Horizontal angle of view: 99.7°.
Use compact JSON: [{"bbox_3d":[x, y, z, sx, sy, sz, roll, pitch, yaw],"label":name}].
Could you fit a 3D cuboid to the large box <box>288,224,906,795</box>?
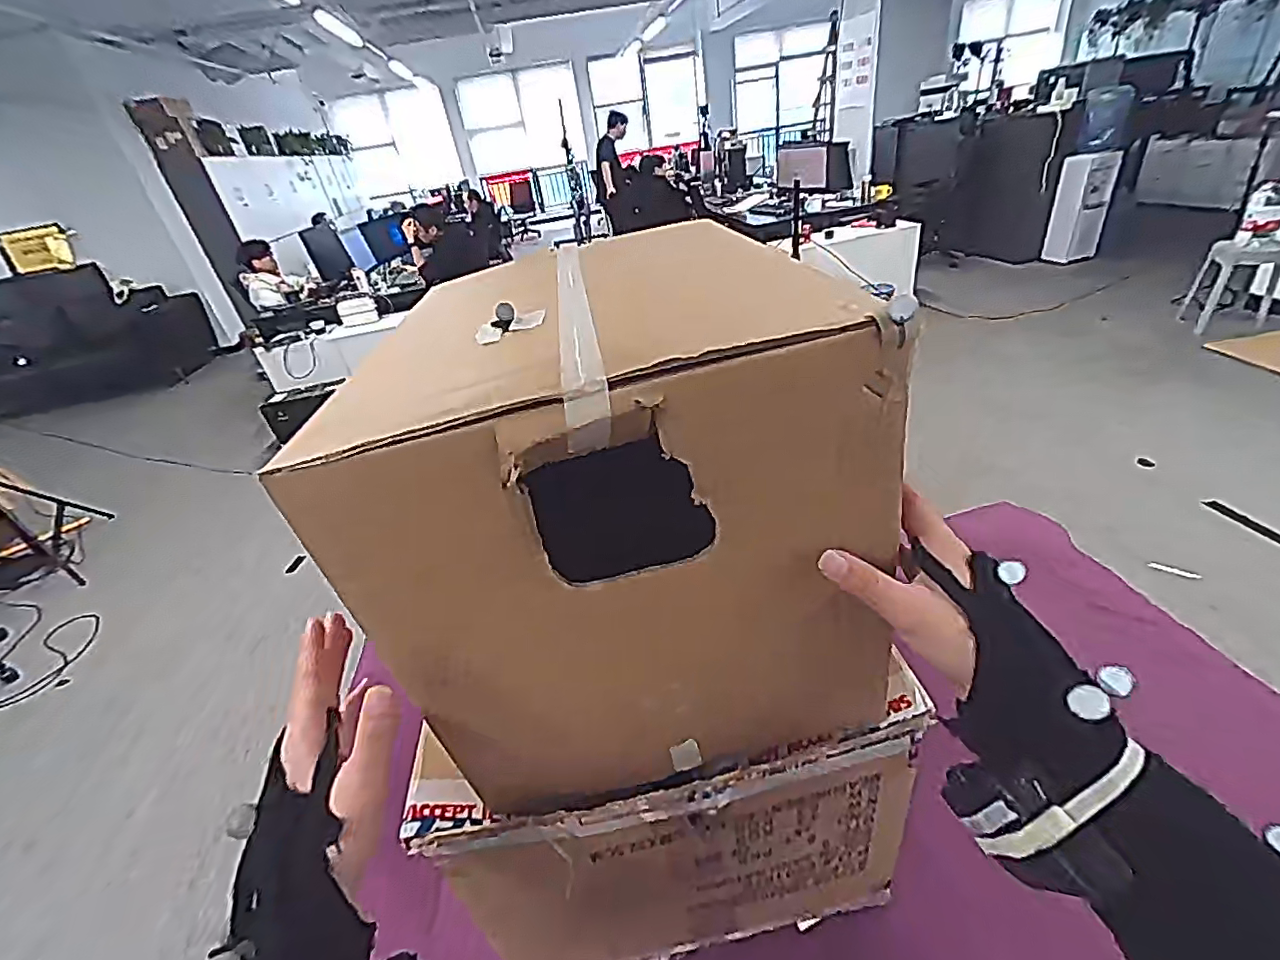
[{"bbox_3d":[-0.020,-0.016,0.500,0.320,0.320,0.408,-15,33,0],"label":"large box"}]
